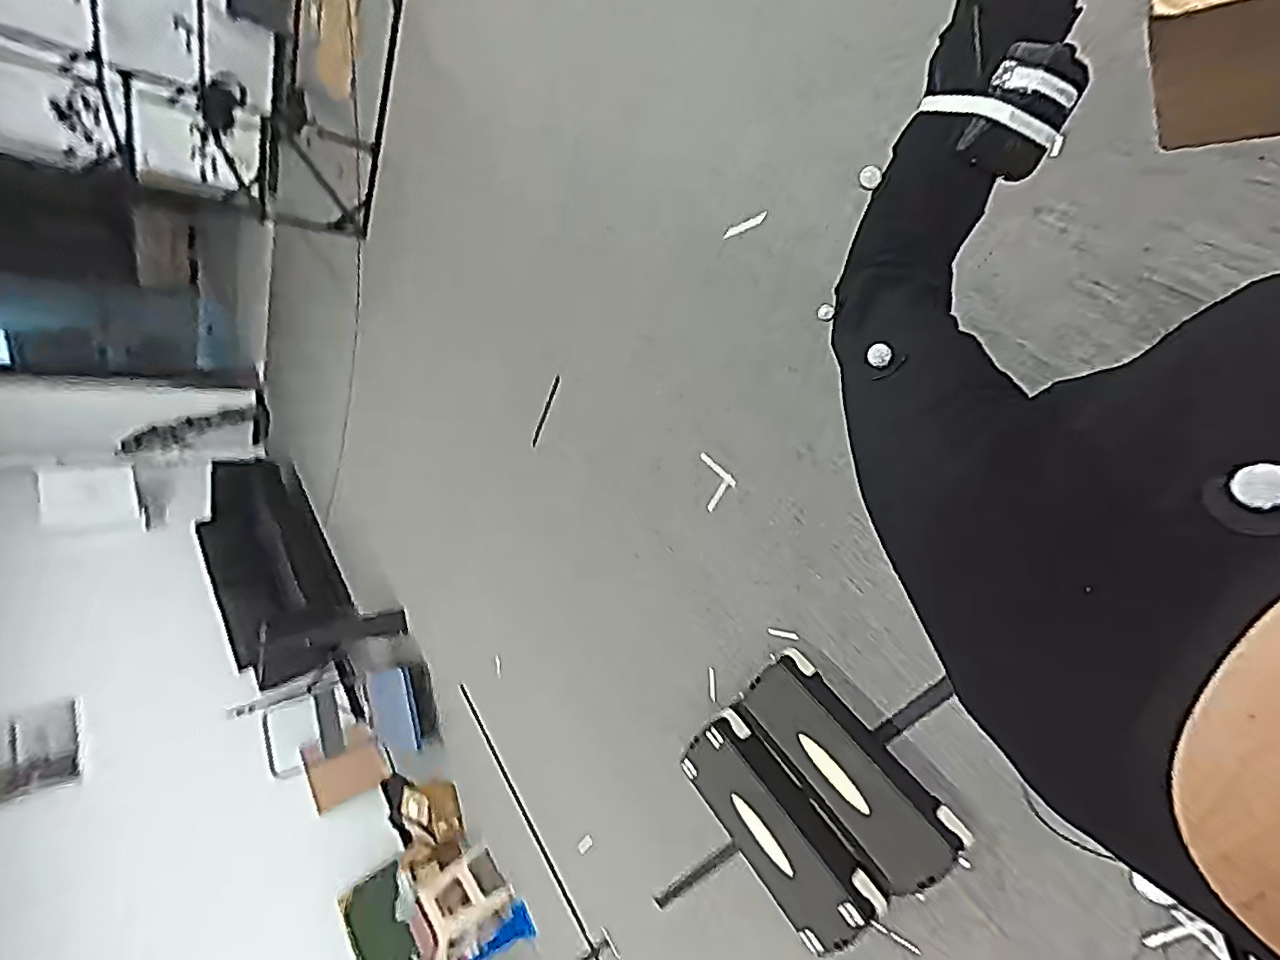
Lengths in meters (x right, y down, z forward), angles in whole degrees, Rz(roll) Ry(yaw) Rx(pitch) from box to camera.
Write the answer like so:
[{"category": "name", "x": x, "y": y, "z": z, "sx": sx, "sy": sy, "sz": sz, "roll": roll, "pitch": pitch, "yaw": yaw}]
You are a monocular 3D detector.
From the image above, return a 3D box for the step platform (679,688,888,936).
[{"category": "step platform", "x": 0.430, "y": 1.041, "z": 1.743, "sx": 0.684, "sy": 0.204, "sz": 0.286, "roll": 47, "pitch": 126, "yaw": 32}]

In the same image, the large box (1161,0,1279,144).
[{"category": "large box", "x": 0.549, "y": -0.410, "z": 0.253, "sx": 0.408, "sy": 0.320, "sz": 0.320, "roll": 15, "pitch": 111, "yaw": 41}]
